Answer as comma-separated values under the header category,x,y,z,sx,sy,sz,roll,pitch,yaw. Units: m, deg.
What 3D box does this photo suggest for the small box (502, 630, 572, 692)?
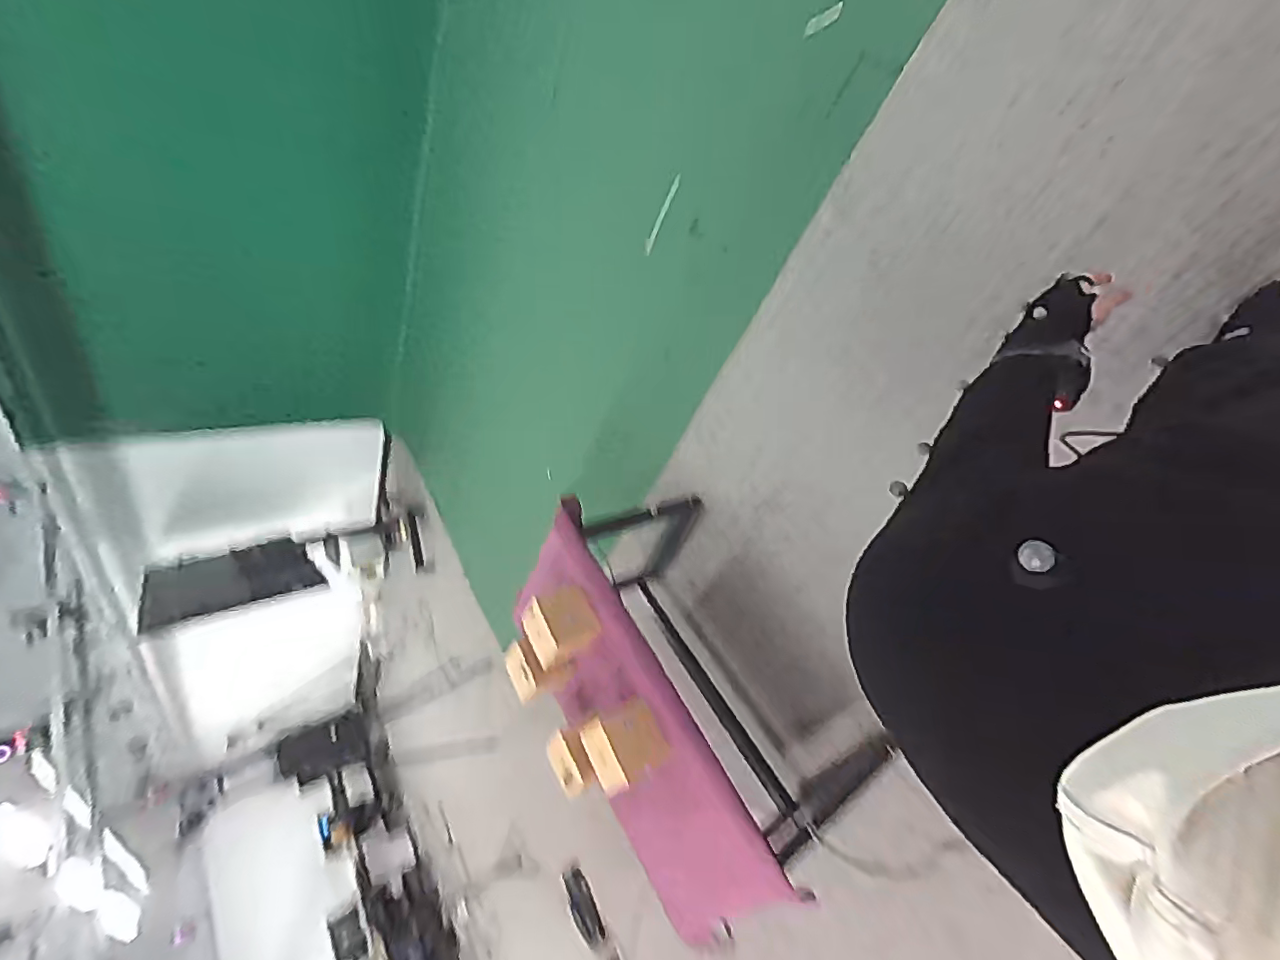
category,x,y,z,sx,sy,sz,roll,pitch,yaw
small box,-0.366,0.626,1.935,0.168,0.176,0.179,58,137,22

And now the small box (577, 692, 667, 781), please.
category,x,y,z,sx,sy,sz,roll,pitch,yaw
small box,-0.053,0.748,1.596,0.179,0.176,0.168,59,138,20

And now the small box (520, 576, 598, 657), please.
category,x,y,z,sx,sy,sz,roll,pitch,yaw
small box,-0.264,0.440,1.765,0.179,0.176,0.168,57,137,22
